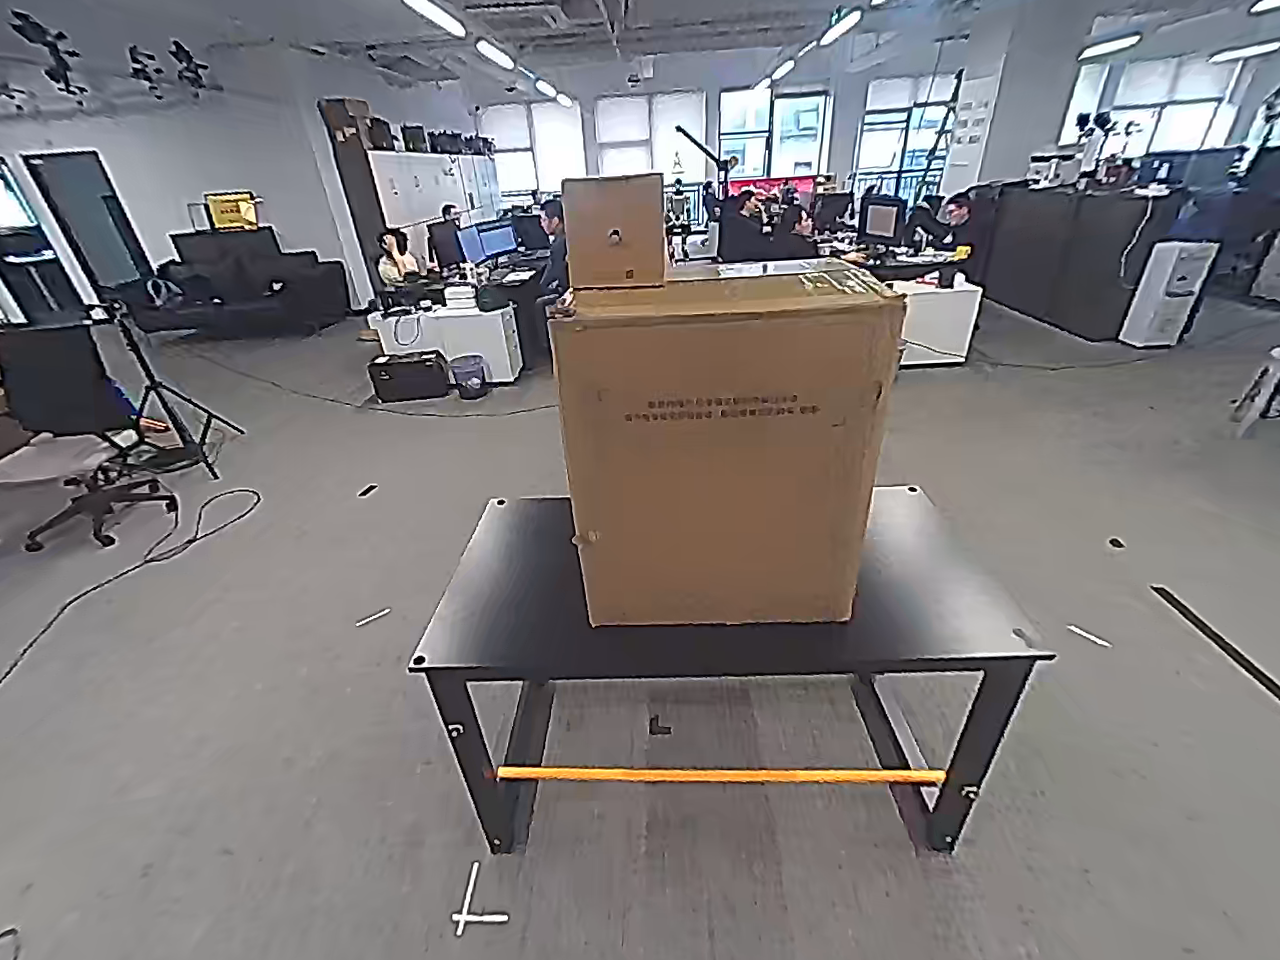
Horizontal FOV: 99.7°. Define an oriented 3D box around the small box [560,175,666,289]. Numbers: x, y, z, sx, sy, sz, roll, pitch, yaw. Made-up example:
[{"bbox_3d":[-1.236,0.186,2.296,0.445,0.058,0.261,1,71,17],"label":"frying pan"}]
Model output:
[{"bbox_3d":[-0.038,-0.438,0.959,0.168,0.176,0.179,-1,29,3],"label":"small box"}]
